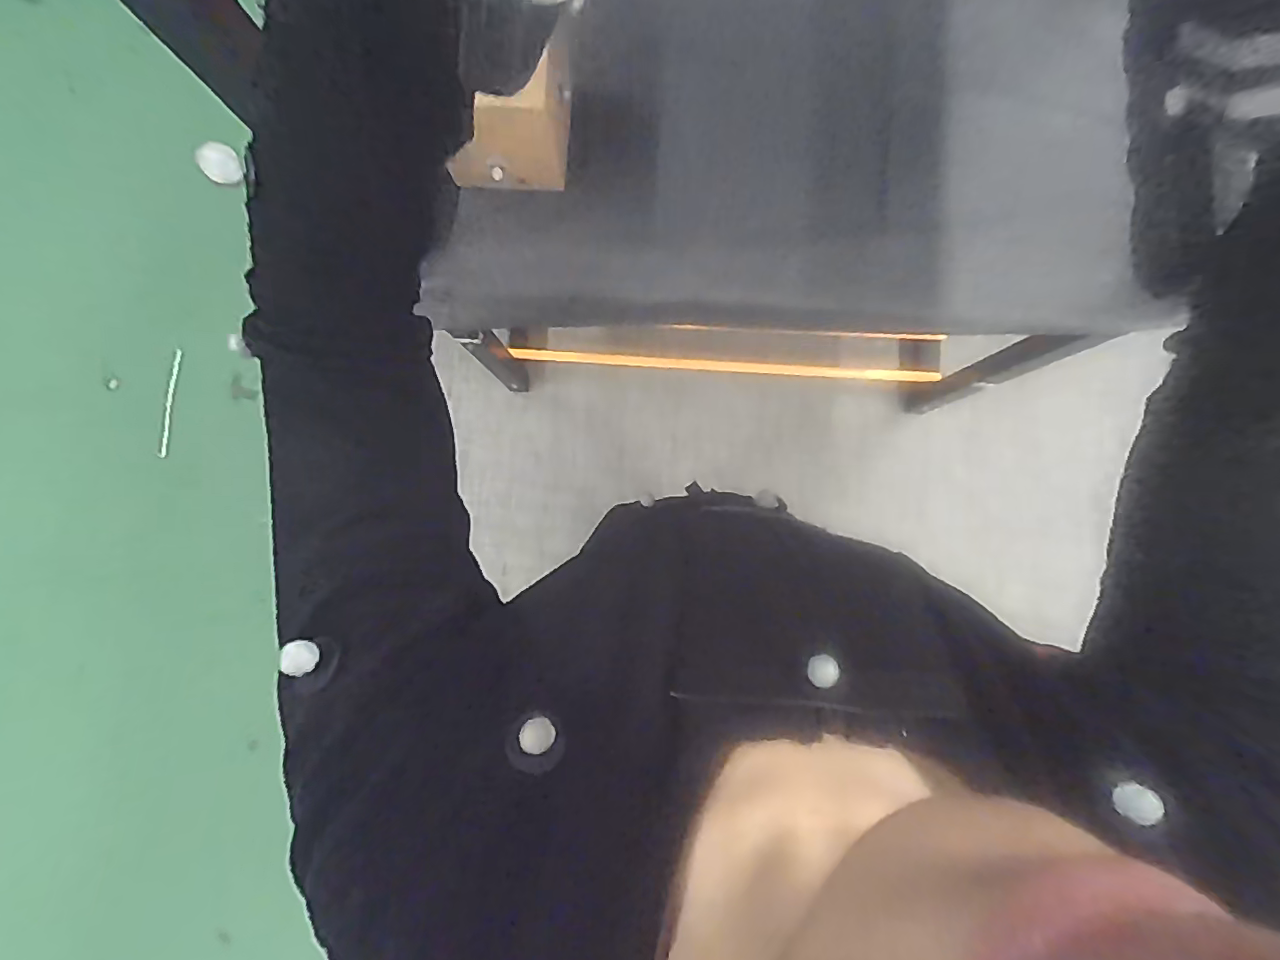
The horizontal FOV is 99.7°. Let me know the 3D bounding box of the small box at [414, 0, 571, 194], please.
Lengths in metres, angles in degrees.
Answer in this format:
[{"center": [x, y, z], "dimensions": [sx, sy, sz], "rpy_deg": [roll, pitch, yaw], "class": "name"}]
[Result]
[{"center": [-0.190, -0.533, 0.748], "dimensions": [0.168, 0.176, 0.179], "rpy_deg": [3, 85, 1], "class": "small box"}]
